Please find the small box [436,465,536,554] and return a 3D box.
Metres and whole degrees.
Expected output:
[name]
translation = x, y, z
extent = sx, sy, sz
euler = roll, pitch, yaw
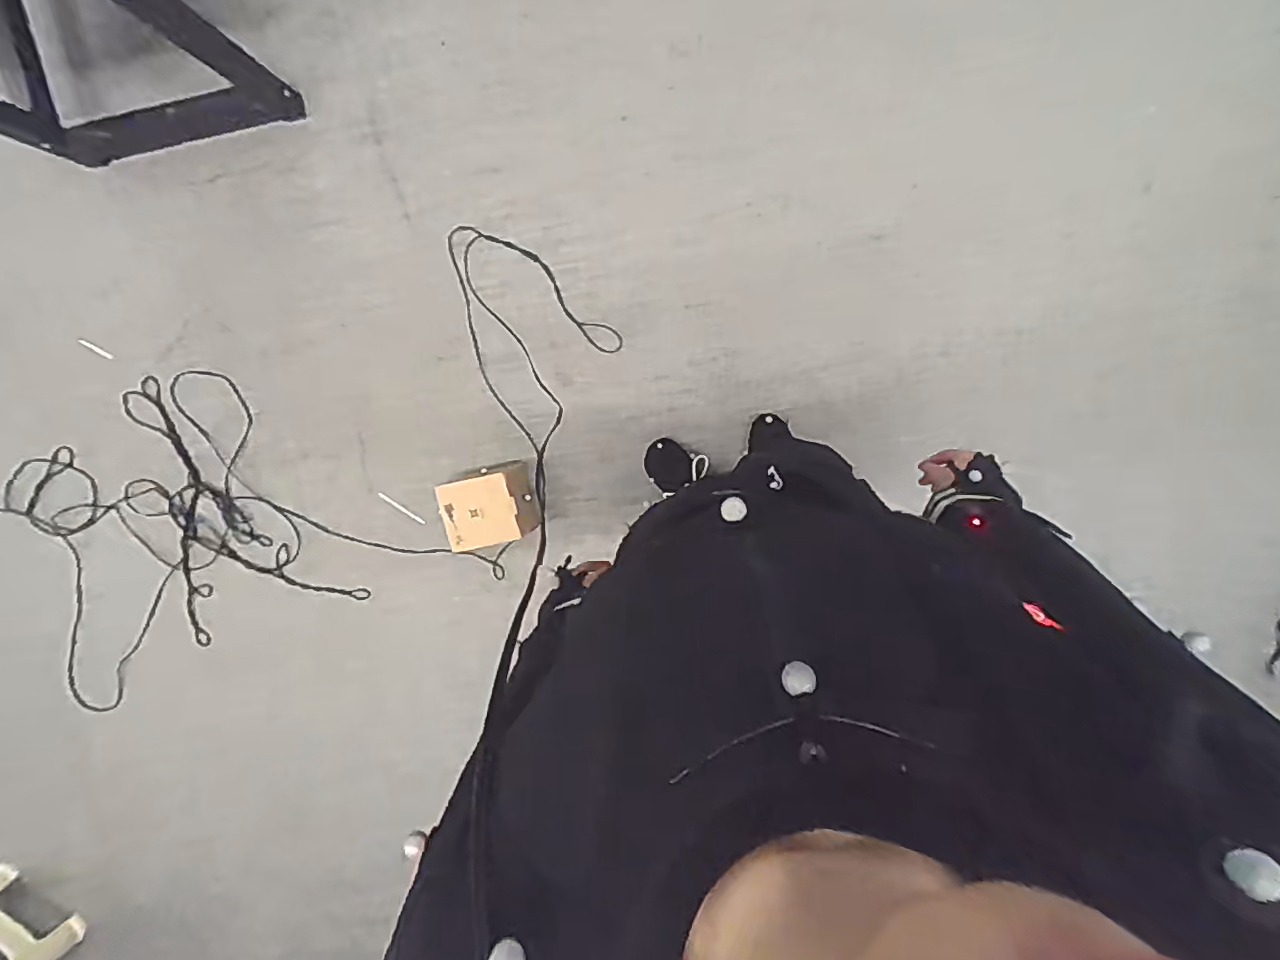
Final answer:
[small box]
translation = -0.365, 0.065, 1.325
extent = 0.179, 0.176, 0.168
euler = -12, 98, 6
